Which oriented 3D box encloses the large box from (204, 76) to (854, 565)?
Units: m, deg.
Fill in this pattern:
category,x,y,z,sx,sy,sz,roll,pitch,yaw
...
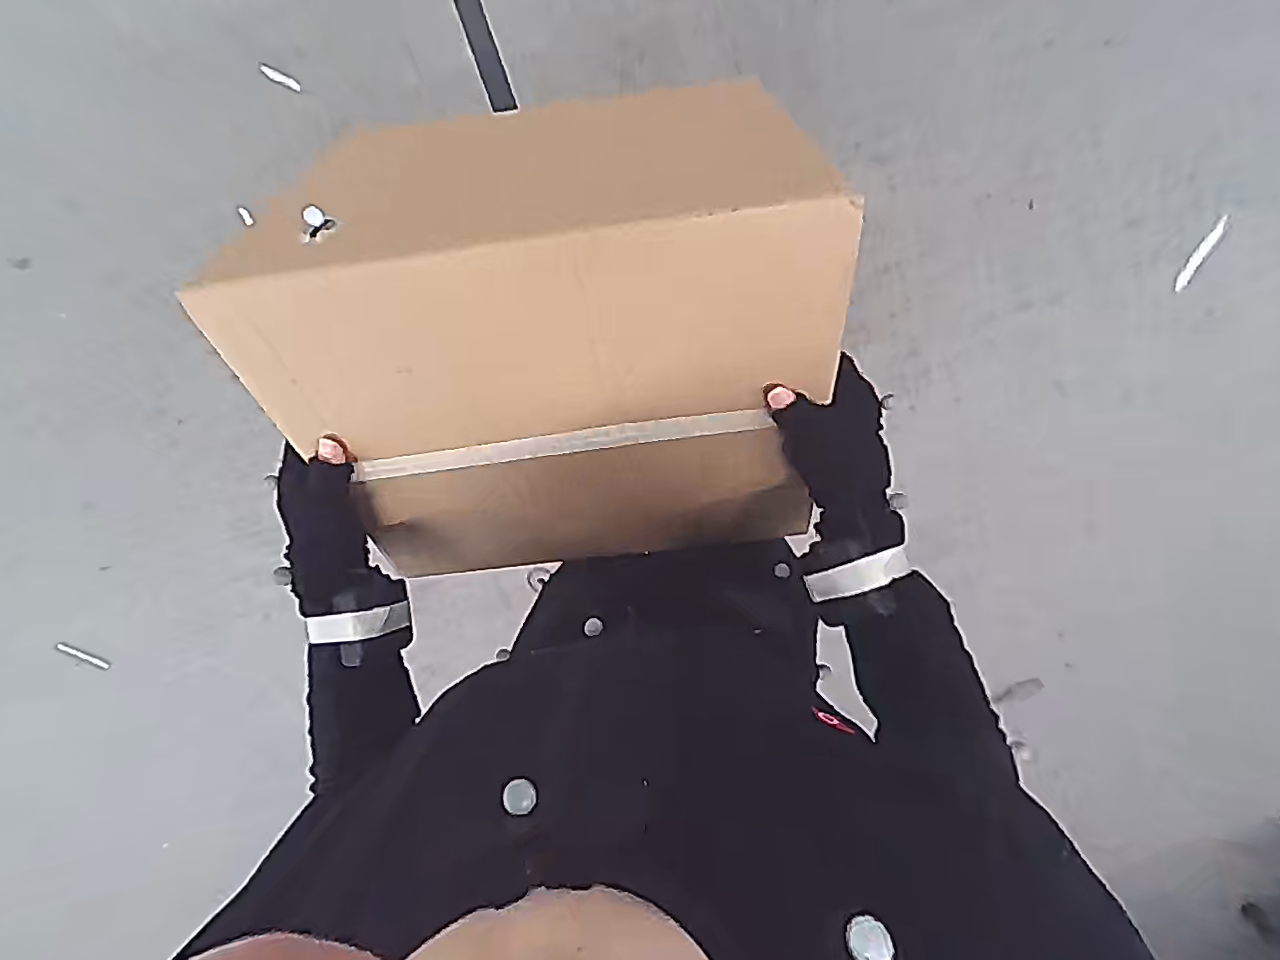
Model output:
category,x,y,z,sx,sy,sz,roll,pitch,yaw
large box,-0.064,-0.149,0.526,0.408,0.320,0.320,-7,138,3
